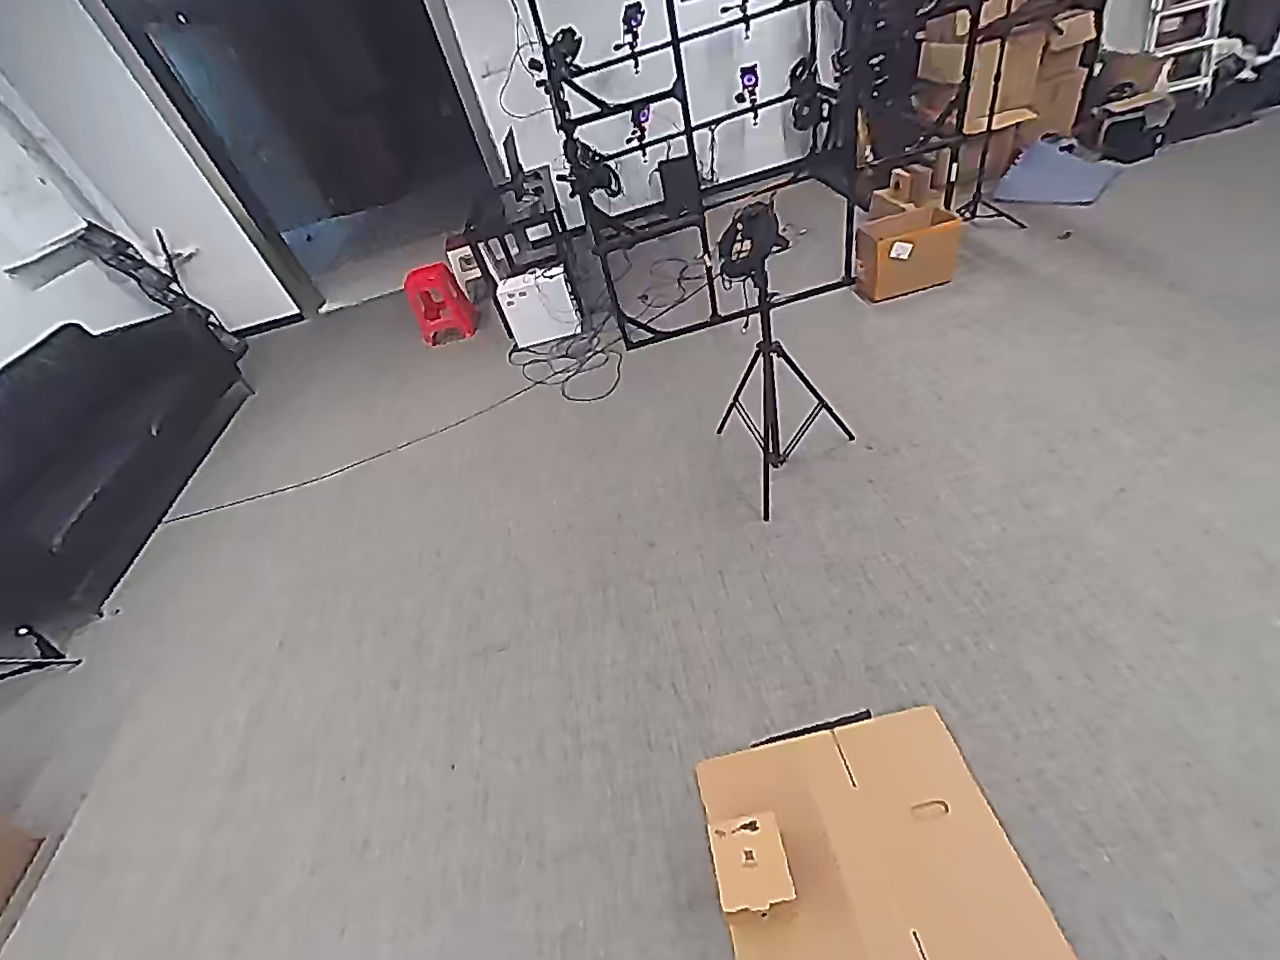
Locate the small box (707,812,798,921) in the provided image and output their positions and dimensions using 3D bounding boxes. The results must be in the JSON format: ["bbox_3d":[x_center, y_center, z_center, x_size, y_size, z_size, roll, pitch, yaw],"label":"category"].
[{"bbox_3d":[0.265,0.915,1.273,0.168,0.176,0.179,-14,43,5],"label":"small box"}]
